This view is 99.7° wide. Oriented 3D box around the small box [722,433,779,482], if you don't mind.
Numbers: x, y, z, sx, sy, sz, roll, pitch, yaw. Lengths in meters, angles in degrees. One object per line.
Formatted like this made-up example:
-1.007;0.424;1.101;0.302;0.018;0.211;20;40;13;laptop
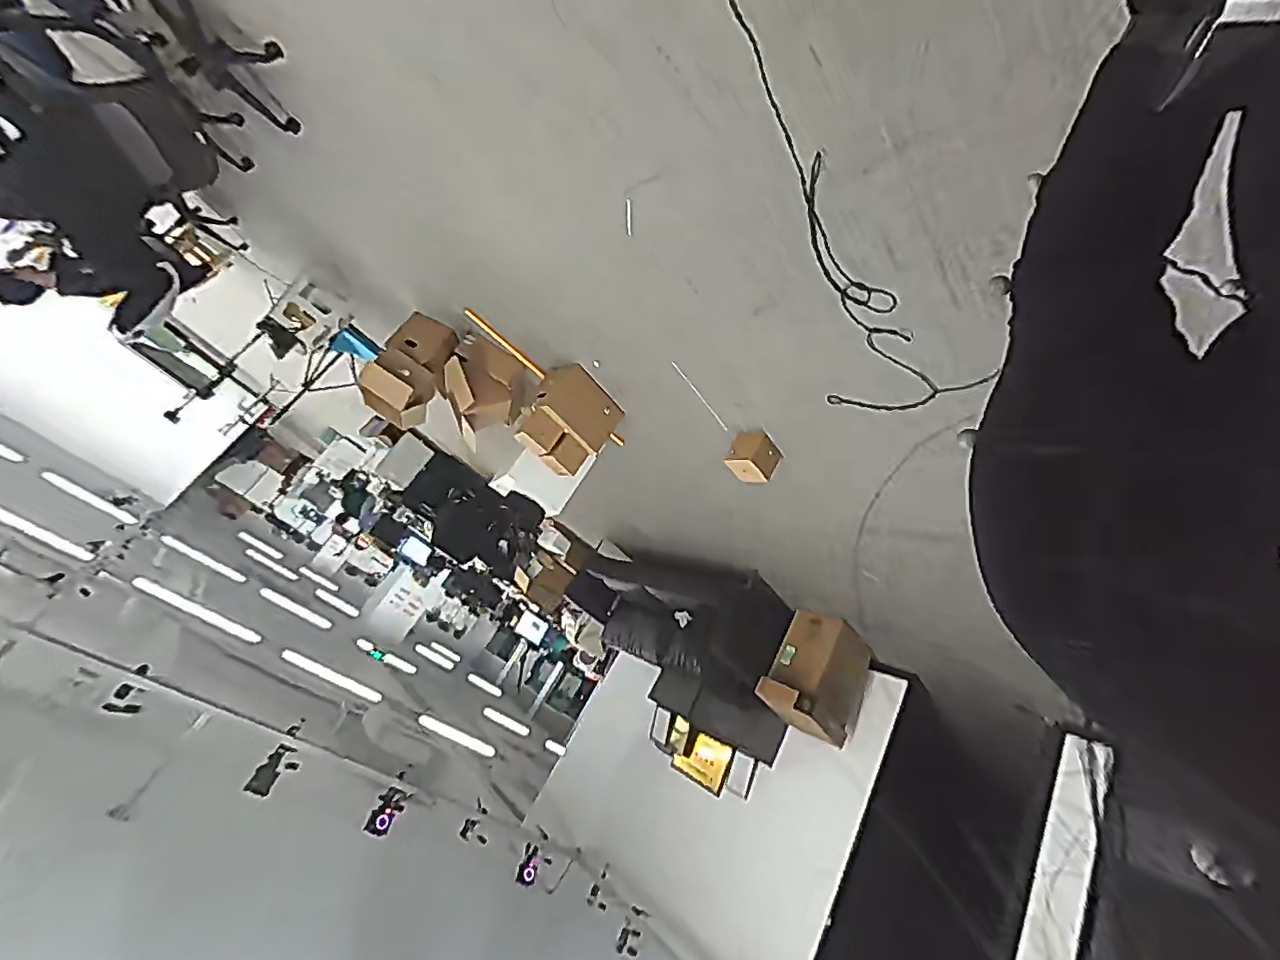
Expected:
0.532;-0.110;2.596;0.168;0.176;0.179;45;155;-29;small box
